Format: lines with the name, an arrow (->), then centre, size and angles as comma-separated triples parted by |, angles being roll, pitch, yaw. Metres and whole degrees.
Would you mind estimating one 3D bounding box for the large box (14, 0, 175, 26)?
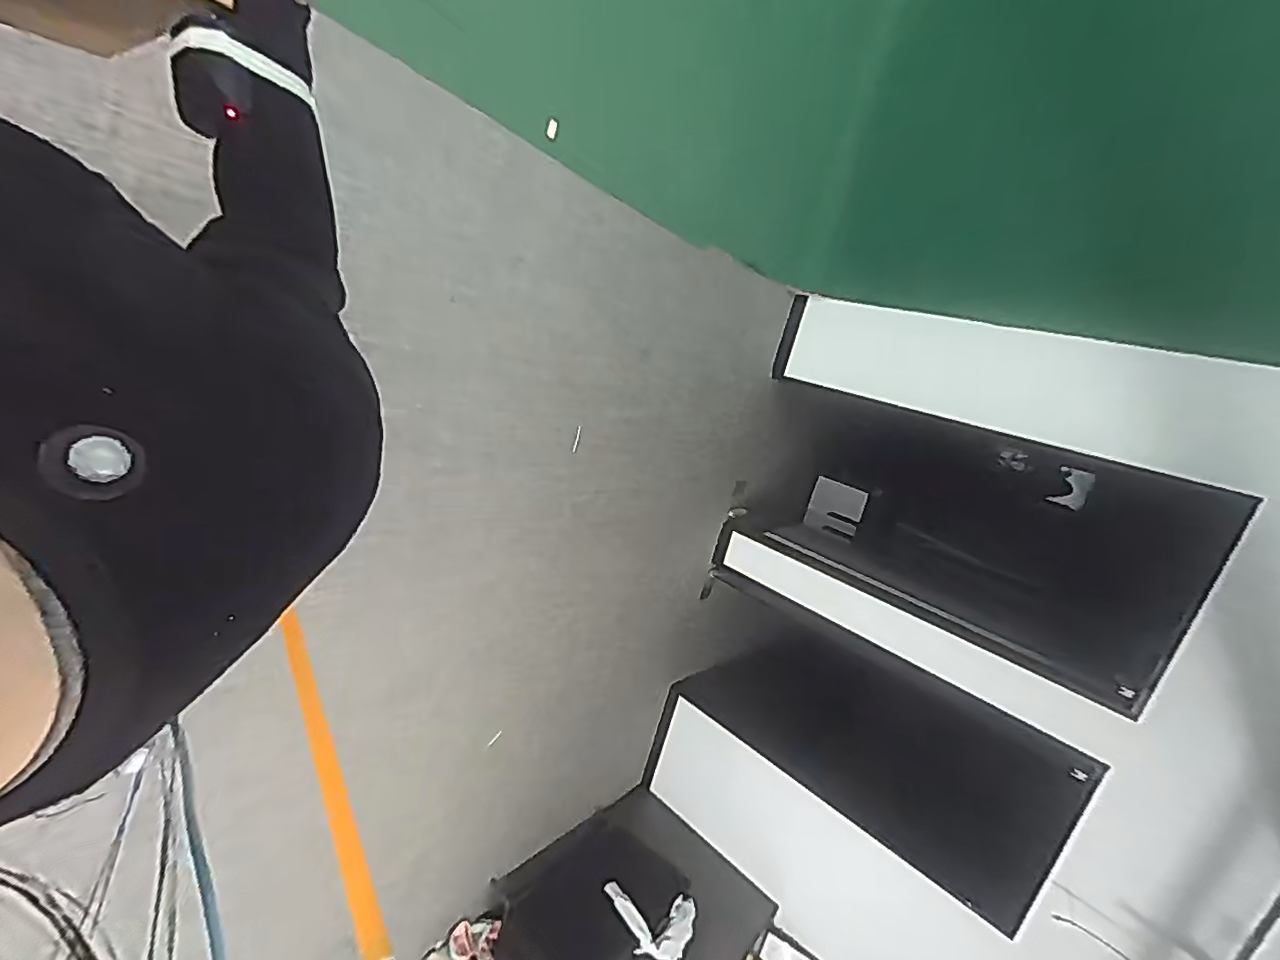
large box -> -0.513, -0.507, 0.265 | 0.408, 0.320, 0.320 | -17, 121, -51
